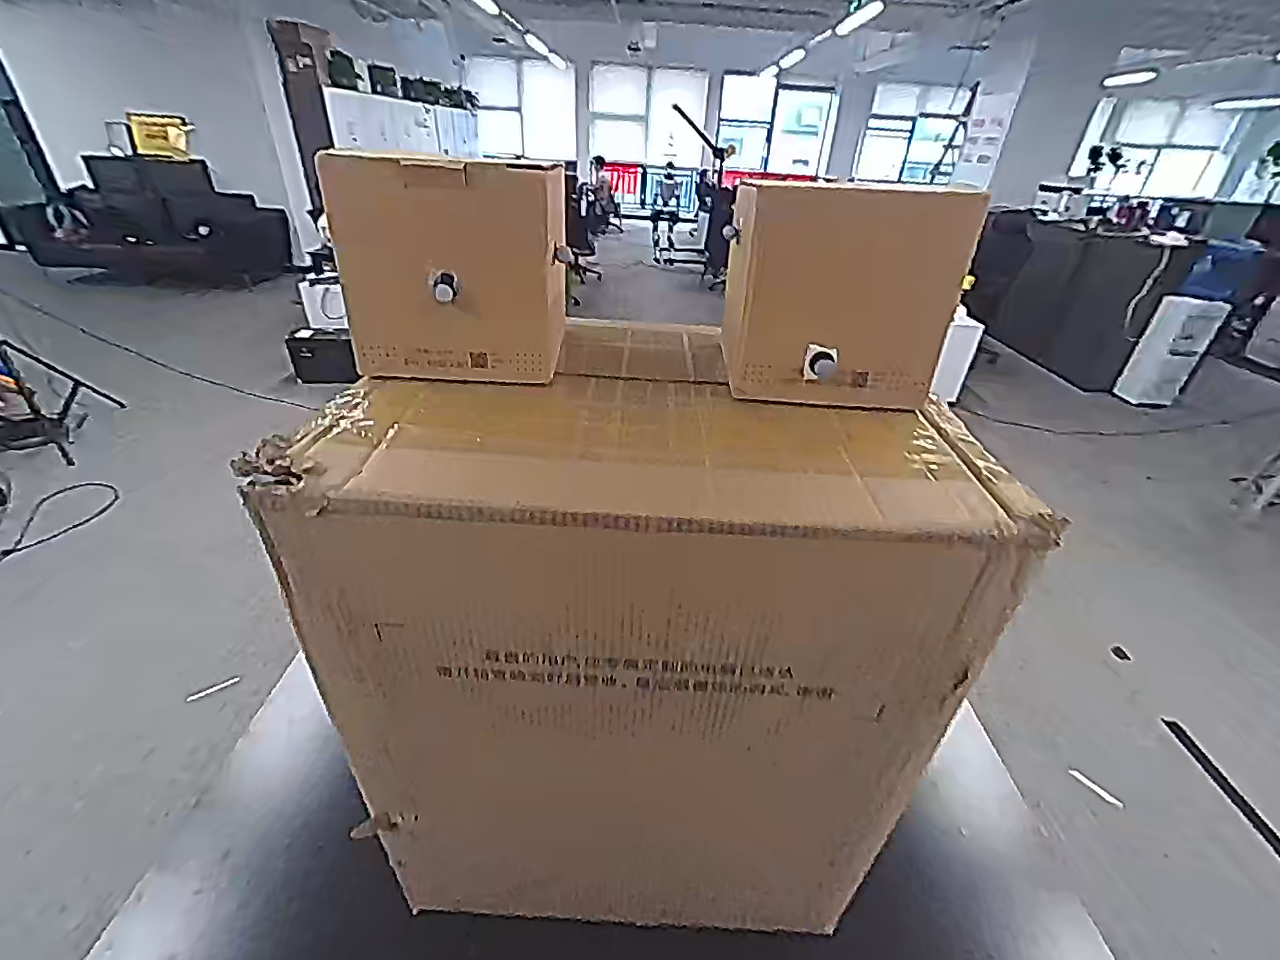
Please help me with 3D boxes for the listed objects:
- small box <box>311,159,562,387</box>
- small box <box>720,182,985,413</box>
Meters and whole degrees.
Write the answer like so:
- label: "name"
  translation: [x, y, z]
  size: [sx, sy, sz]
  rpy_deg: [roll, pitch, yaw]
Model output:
- label: "small box"
  translation: [-0.161, -0.194, 0.501]
  size: [0.168, 0.176, 0.179]
  rpy_deg: [1, 31, -4]
- label: "small box"
  translation: [0.166, -0.173, 0.494]
  size: [0.168, 0.176, 0.179]
  rpy_deg: [2, 31, 3]
